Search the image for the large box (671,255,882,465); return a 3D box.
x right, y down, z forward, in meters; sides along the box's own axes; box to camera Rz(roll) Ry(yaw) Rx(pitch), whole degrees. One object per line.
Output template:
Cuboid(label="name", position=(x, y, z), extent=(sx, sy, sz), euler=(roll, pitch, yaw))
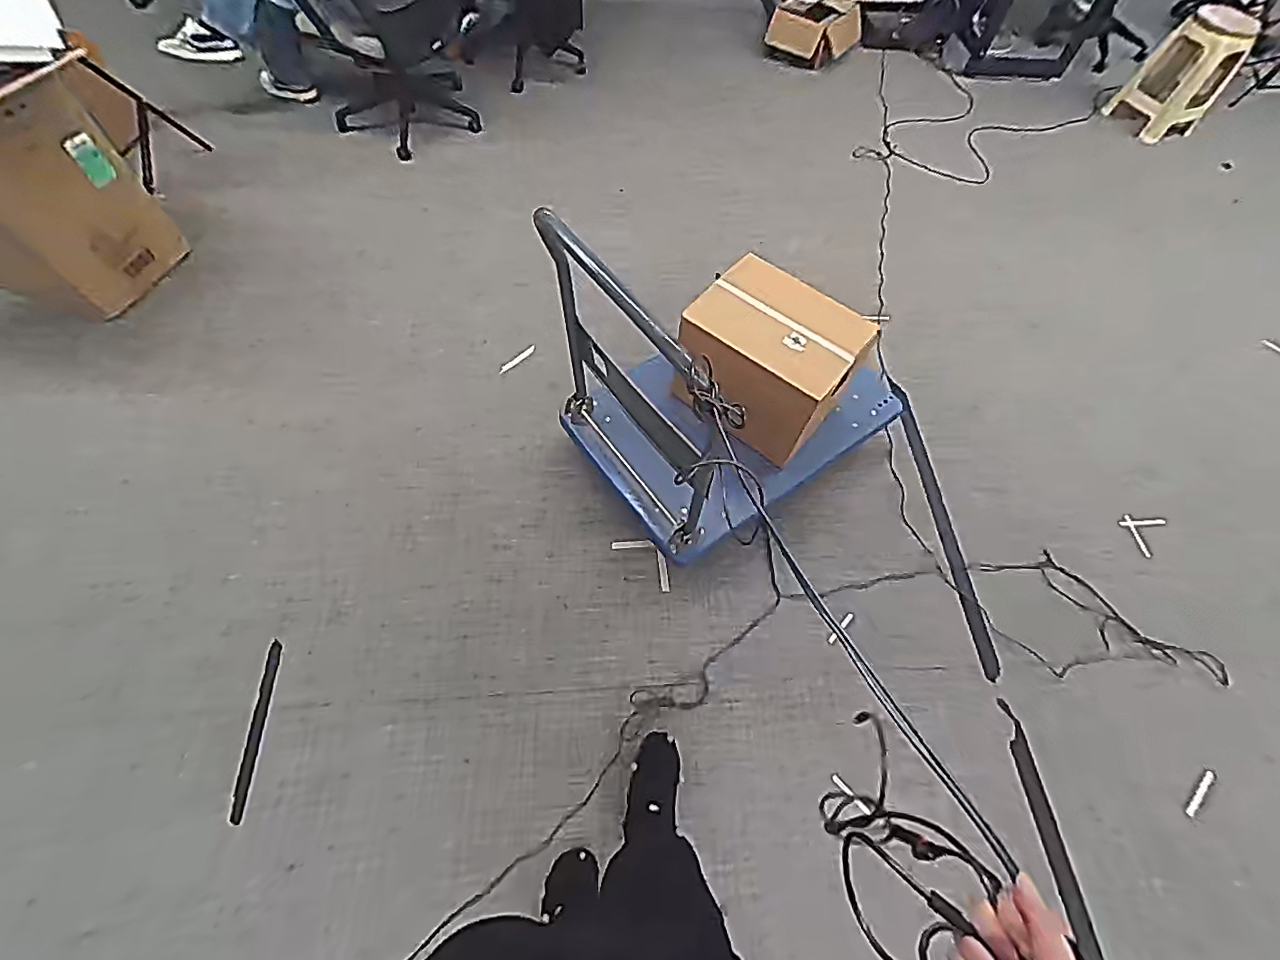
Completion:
Cuboid(label="large box", position=(0.342, -0.317, 1.457), extent=(0.408, 0.320, 0.320), euler=(37, 67, 15))
